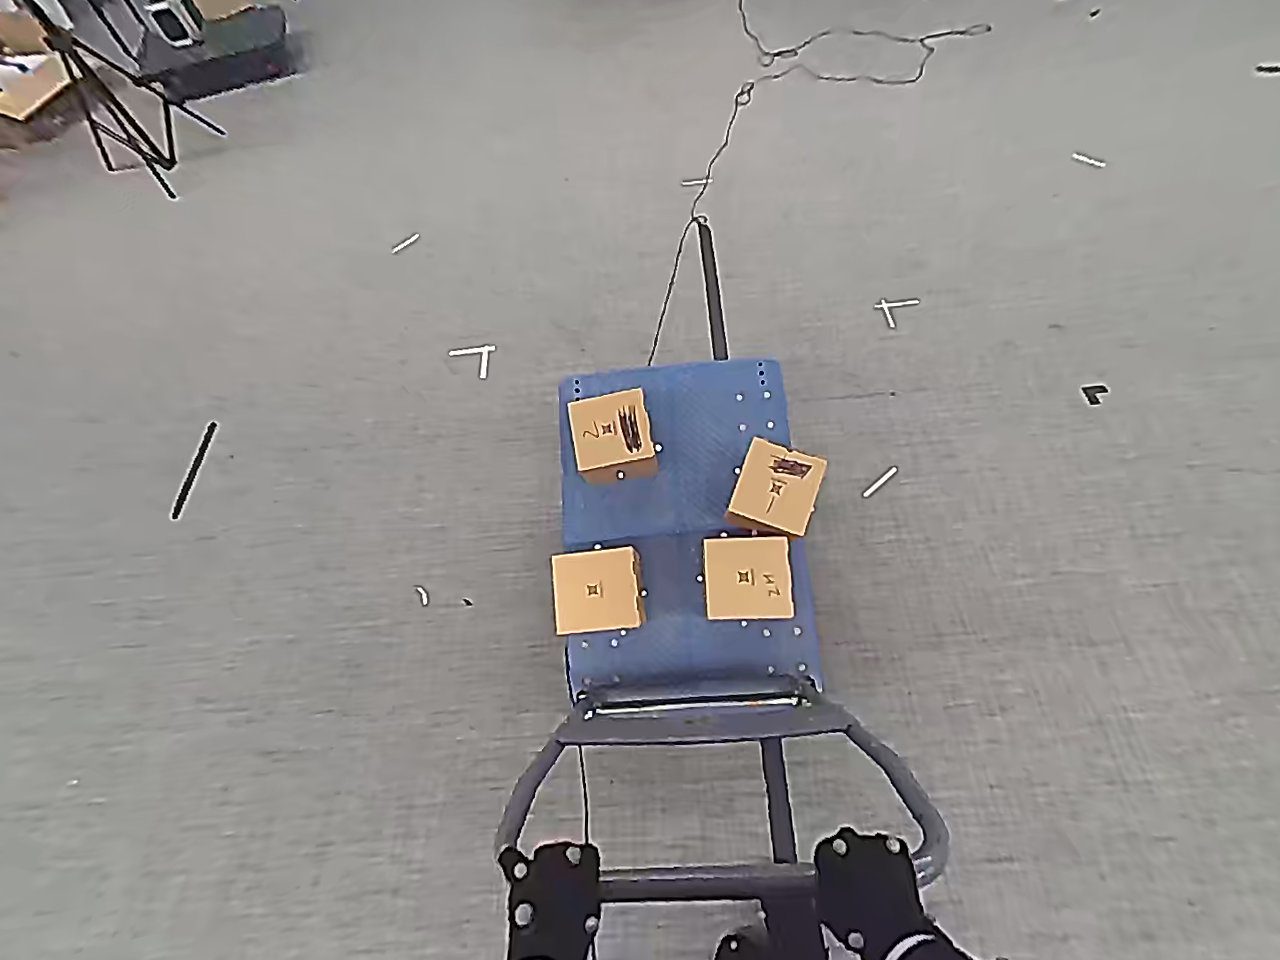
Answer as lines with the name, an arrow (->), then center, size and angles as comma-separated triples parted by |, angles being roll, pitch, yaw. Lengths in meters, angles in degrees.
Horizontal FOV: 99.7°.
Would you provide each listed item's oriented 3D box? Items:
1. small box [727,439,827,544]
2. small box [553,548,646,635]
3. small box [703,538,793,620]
small box -> 0.299, 0.032, 1.220 | 0.168, 0.176, 0.179 | 19, 80, 10
small box -> -0.086, 0.253, 1.204 | 0.179, 0.176, 0.168 | -7, 76, 2
small box -> 0.228, 0.220, 1.182 | 0.179, 0.176, 0.168 | -2, 77, 5
